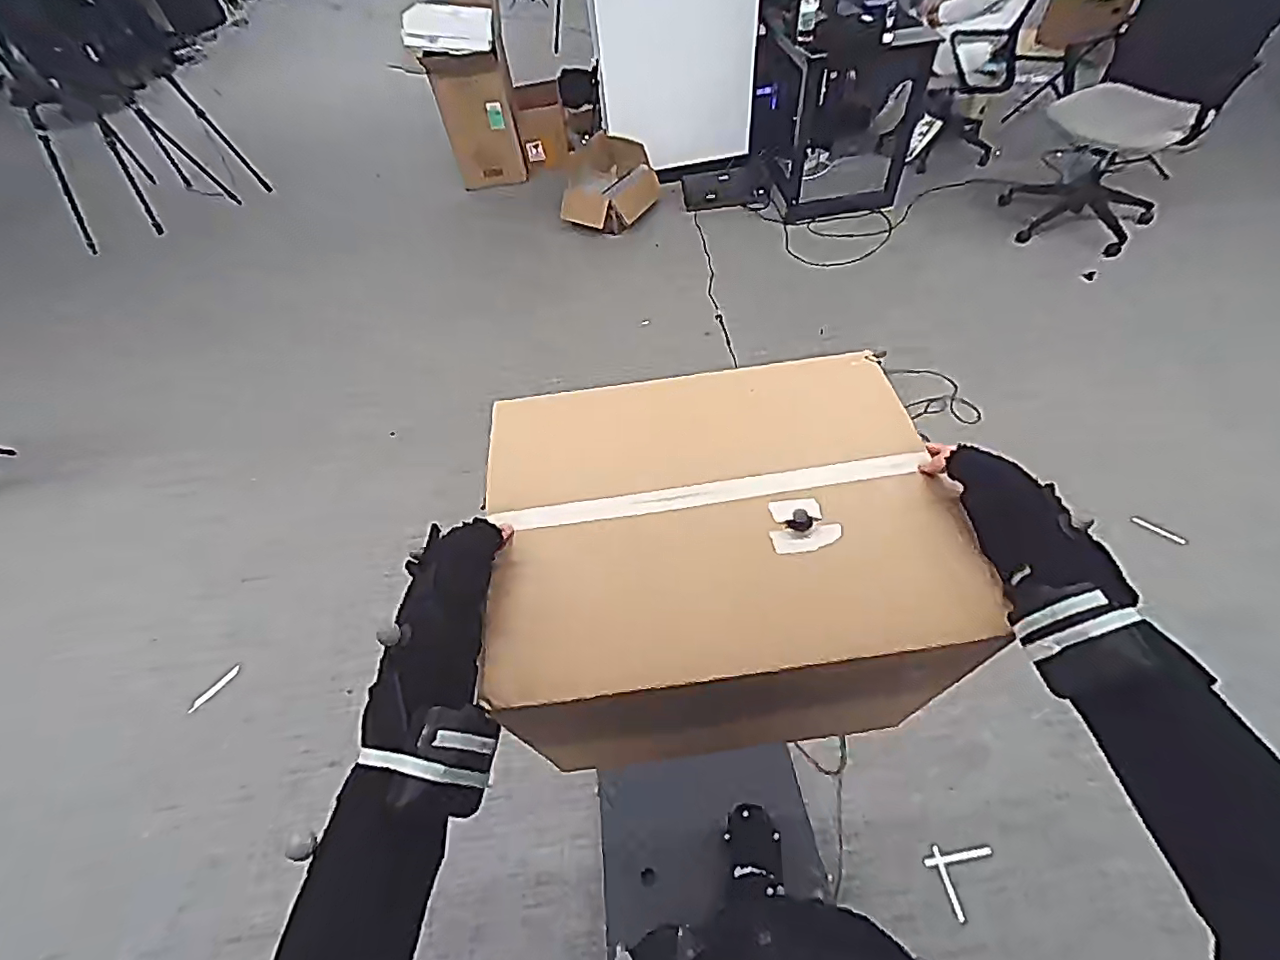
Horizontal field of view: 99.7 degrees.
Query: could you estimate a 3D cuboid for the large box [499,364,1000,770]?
[{"bbox_3d":[0.077,0.110,0.622,0.408,0.320,0.320,-8,54,-1],"label":"large box"}]
